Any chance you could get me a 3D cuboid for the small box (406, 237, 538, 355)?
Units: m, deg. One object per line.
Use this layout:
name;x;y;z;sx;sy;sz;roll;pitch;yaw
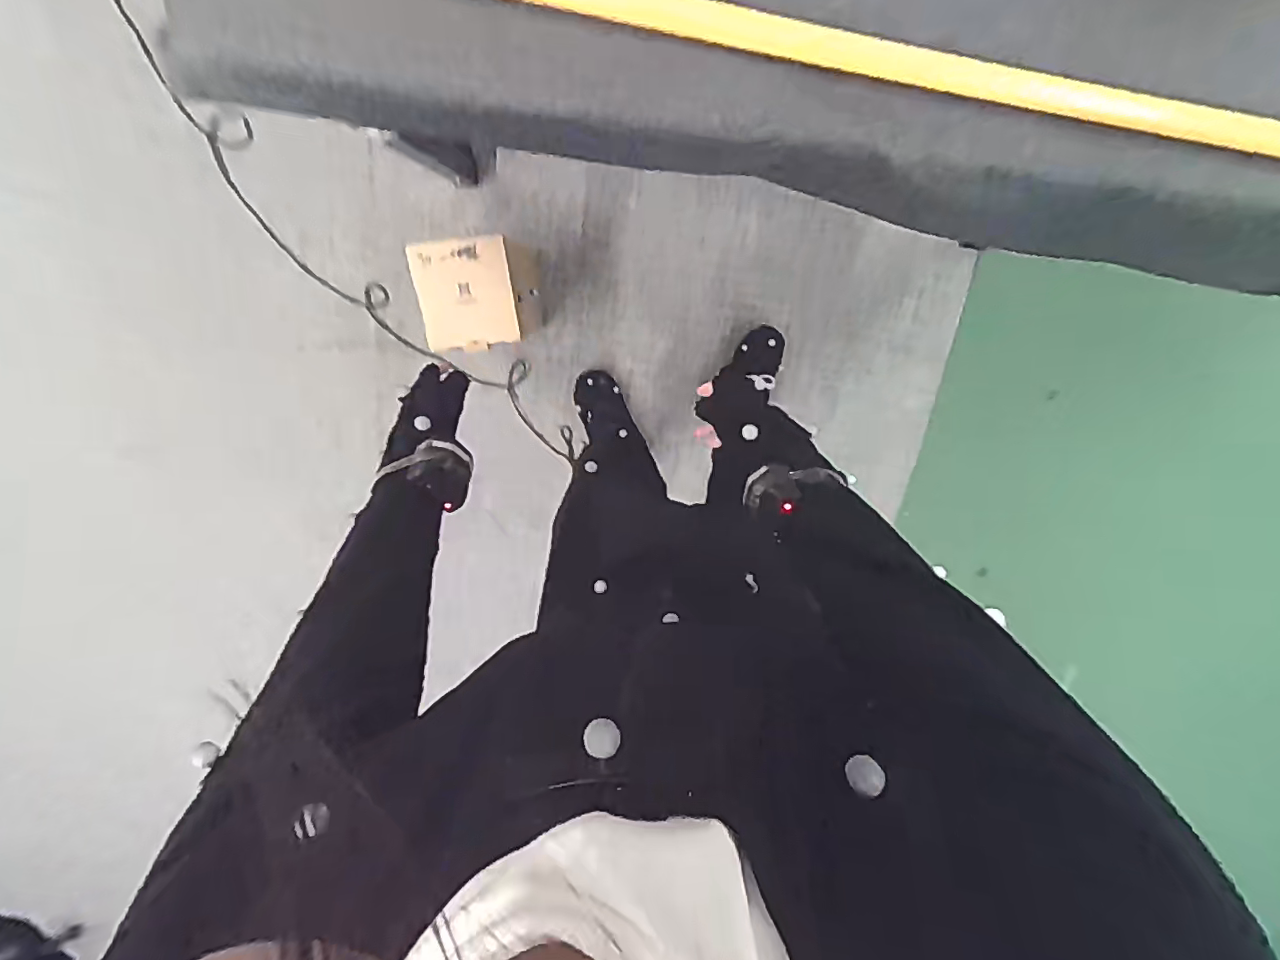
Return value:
small box;-0.299;-0.342;1.005;0.168;0.176;0.179;-8;109;4
